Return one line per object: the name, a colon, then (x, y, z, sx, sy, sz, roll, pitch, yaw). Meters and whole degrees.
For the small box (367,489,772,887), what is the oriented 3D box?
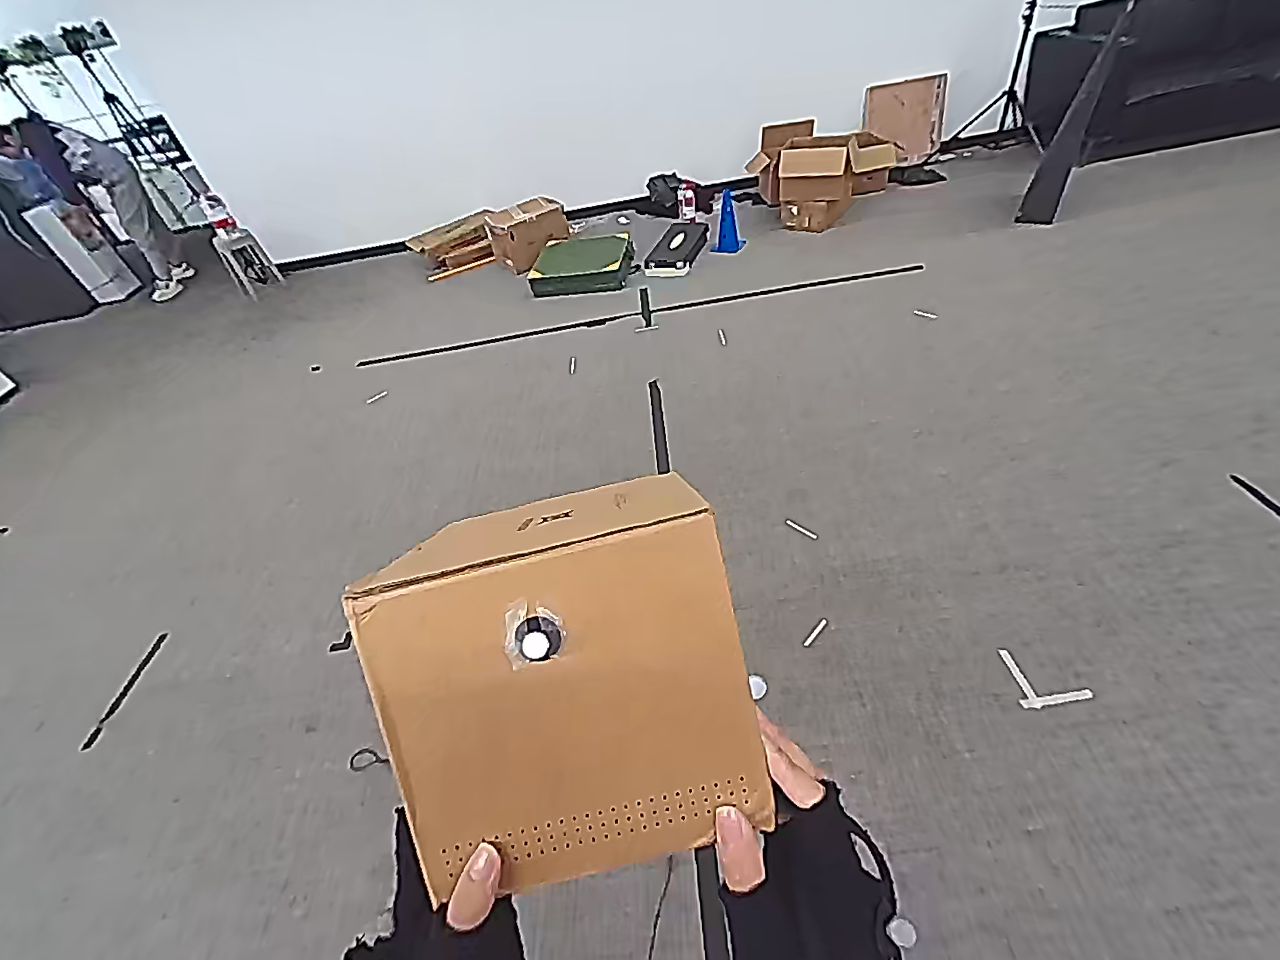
small box: (-0.033, 0.114, 0.348, 0.179, 0.176, 0.168, -13, 7, 0)
